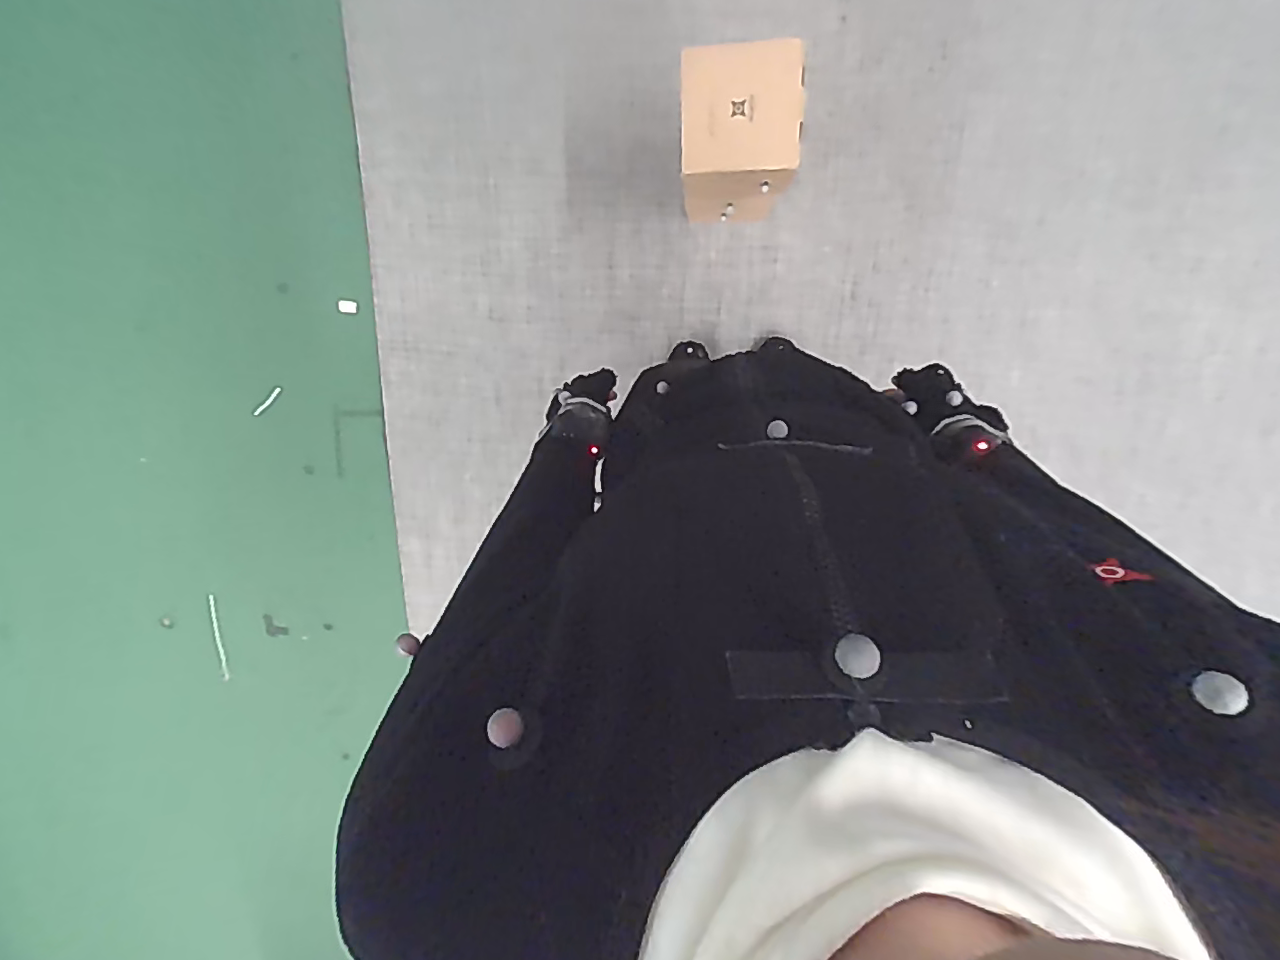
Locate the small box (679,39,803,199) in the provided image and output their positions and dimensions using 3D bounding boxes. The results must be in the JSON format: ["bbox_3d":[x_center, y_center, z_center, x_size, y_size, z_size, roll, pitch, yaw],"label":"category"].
[{"bbox_3d":[0.154,-0.560,0.862,0.179,0.176,0.168,0,105,8],"label":"small box"}]

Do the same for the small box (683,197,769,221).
[{"bbox_3d":[0.186,-0.665,1.169,0.179,0.176,0.168,2,106,7],"label":"small box"}]

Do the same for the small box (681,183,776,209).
[{"bbox_3d":[0.165,-0.618,1.015,0.179,0.176,0.168,0,106,6],"label":"small box"}]
